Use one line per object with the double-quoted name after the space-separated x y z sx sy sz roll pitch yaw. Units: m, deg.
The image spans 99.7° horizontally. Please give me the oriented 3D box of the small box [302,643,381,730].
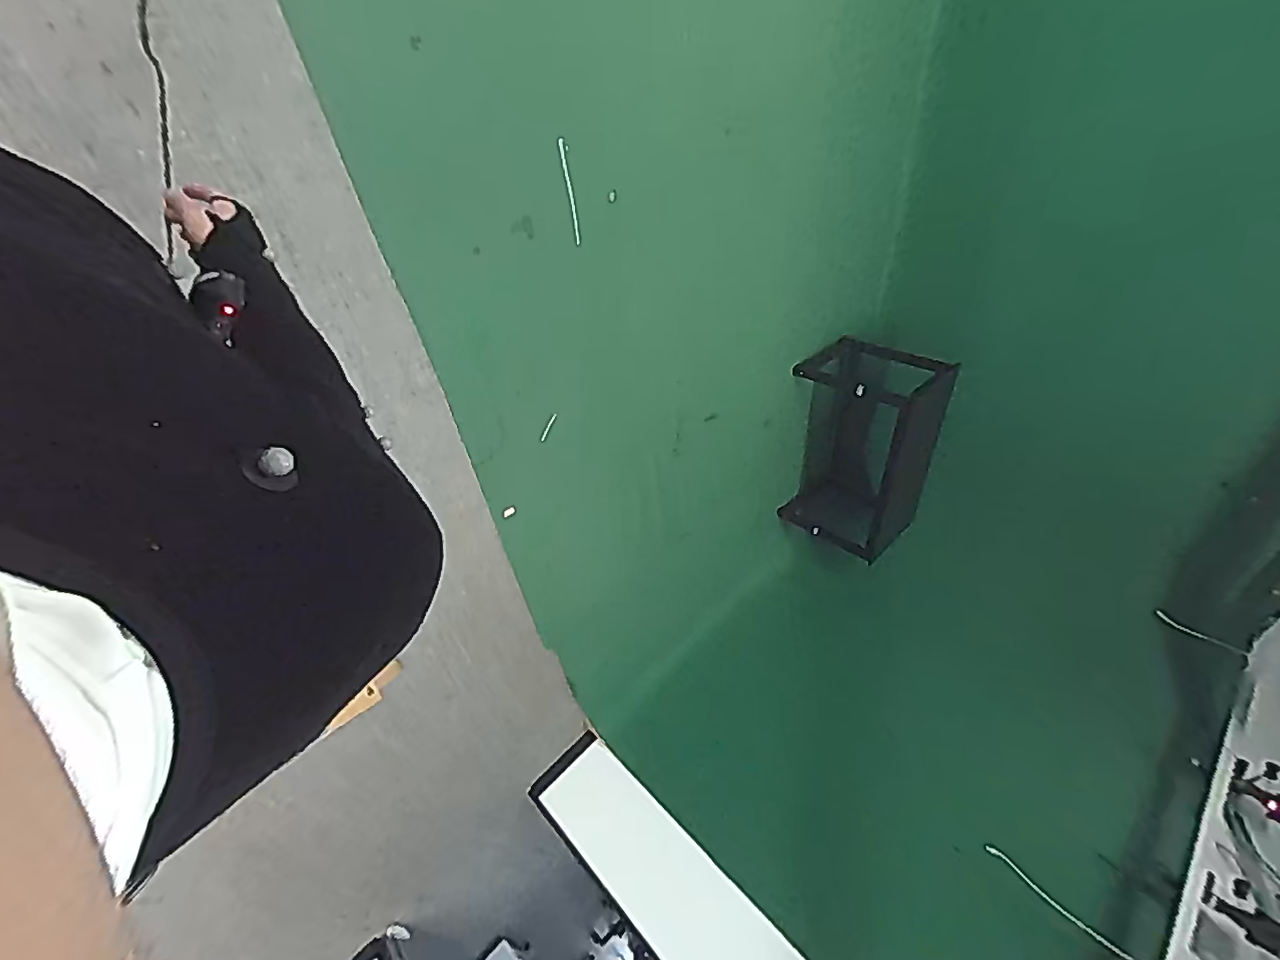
-1.011 0.689 1.821 0.179 0.176 0.168 -29 133 -34 "small box"
